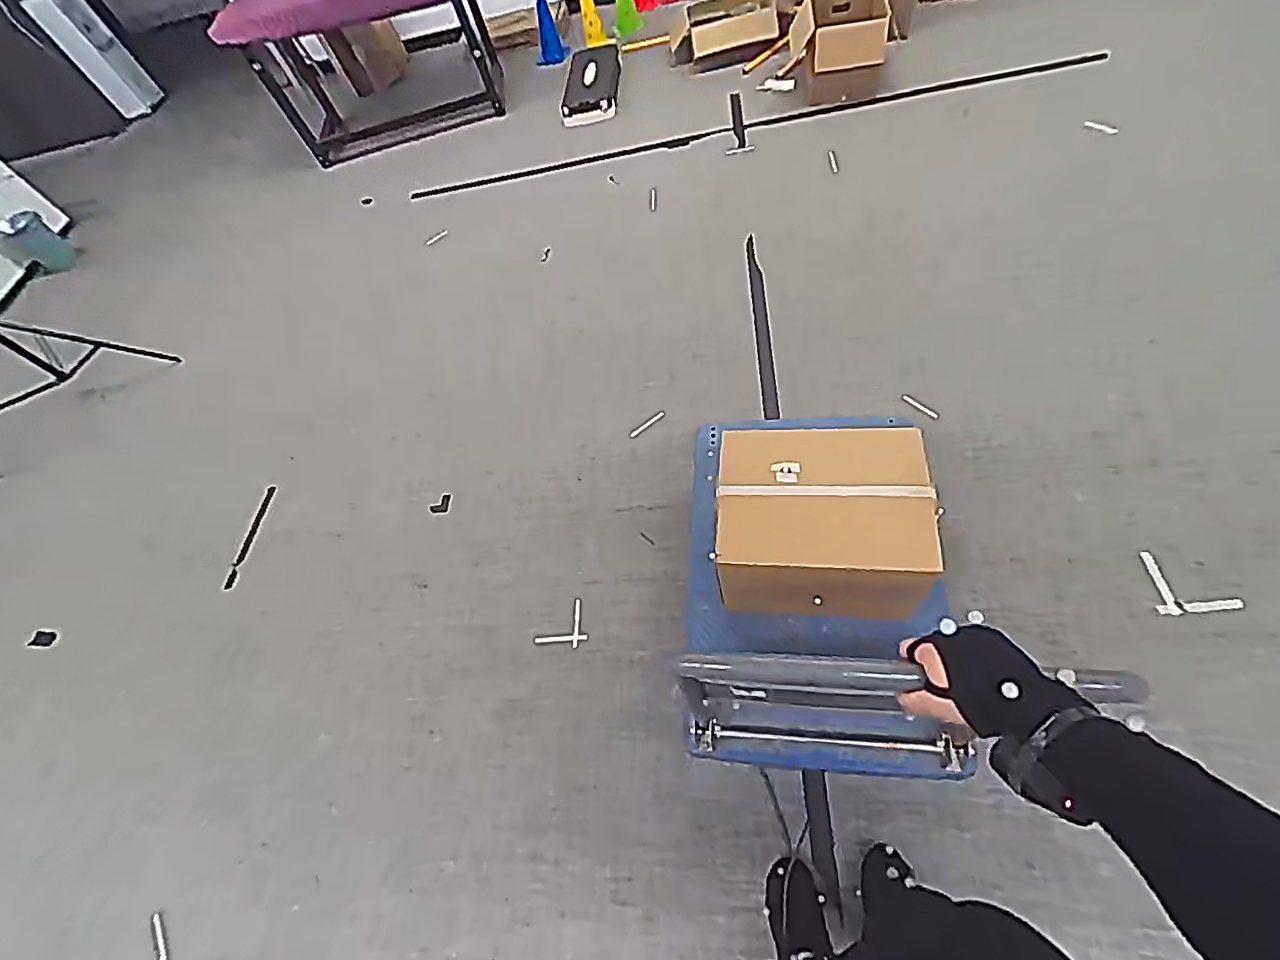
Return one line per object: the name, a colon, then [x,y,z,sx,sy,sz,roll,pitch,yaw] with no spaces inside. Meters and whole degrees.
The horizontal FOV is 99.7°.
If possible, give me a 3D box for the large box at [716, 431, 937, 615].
large box: [0.391,0.107,1.215,0.408,0.320,0.320,0,59,14]
